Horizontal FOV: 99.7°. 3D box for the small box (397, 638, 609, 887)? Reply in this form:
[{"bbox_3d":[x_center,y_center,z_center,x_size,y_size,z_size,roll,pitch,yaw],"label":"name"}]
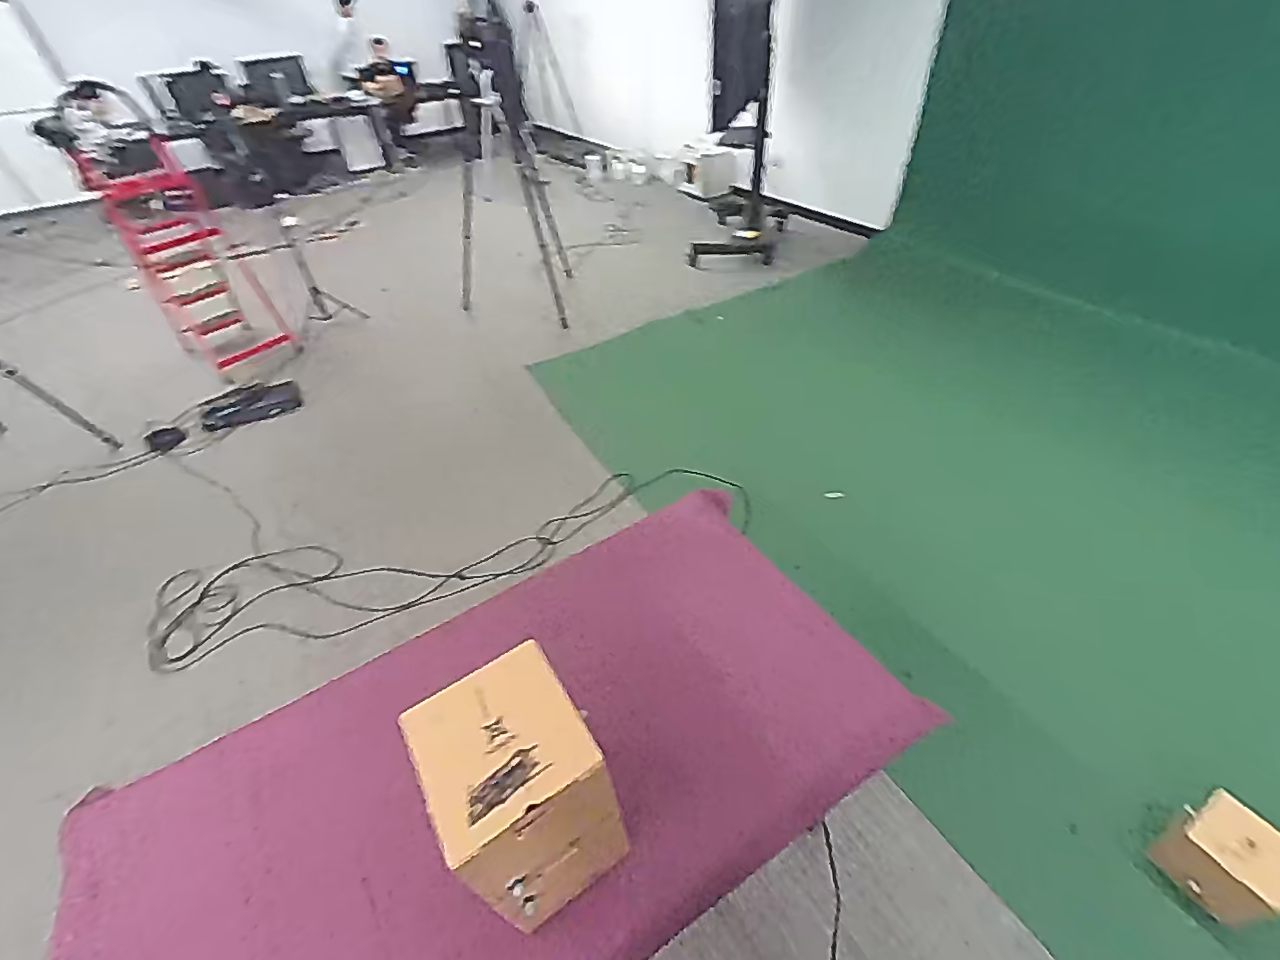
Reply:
[{"bbox_3d":[-0.150,0.328,0.625,0.168,0.176,0.179,-26,46,-22],"label":"small box"}]

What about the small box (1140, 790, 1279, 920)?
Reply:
[{"bbox_3d":[1.319,0.861,1.242,0.179,0.176,0.168,-24,46,-20],"label":"small box"}]
